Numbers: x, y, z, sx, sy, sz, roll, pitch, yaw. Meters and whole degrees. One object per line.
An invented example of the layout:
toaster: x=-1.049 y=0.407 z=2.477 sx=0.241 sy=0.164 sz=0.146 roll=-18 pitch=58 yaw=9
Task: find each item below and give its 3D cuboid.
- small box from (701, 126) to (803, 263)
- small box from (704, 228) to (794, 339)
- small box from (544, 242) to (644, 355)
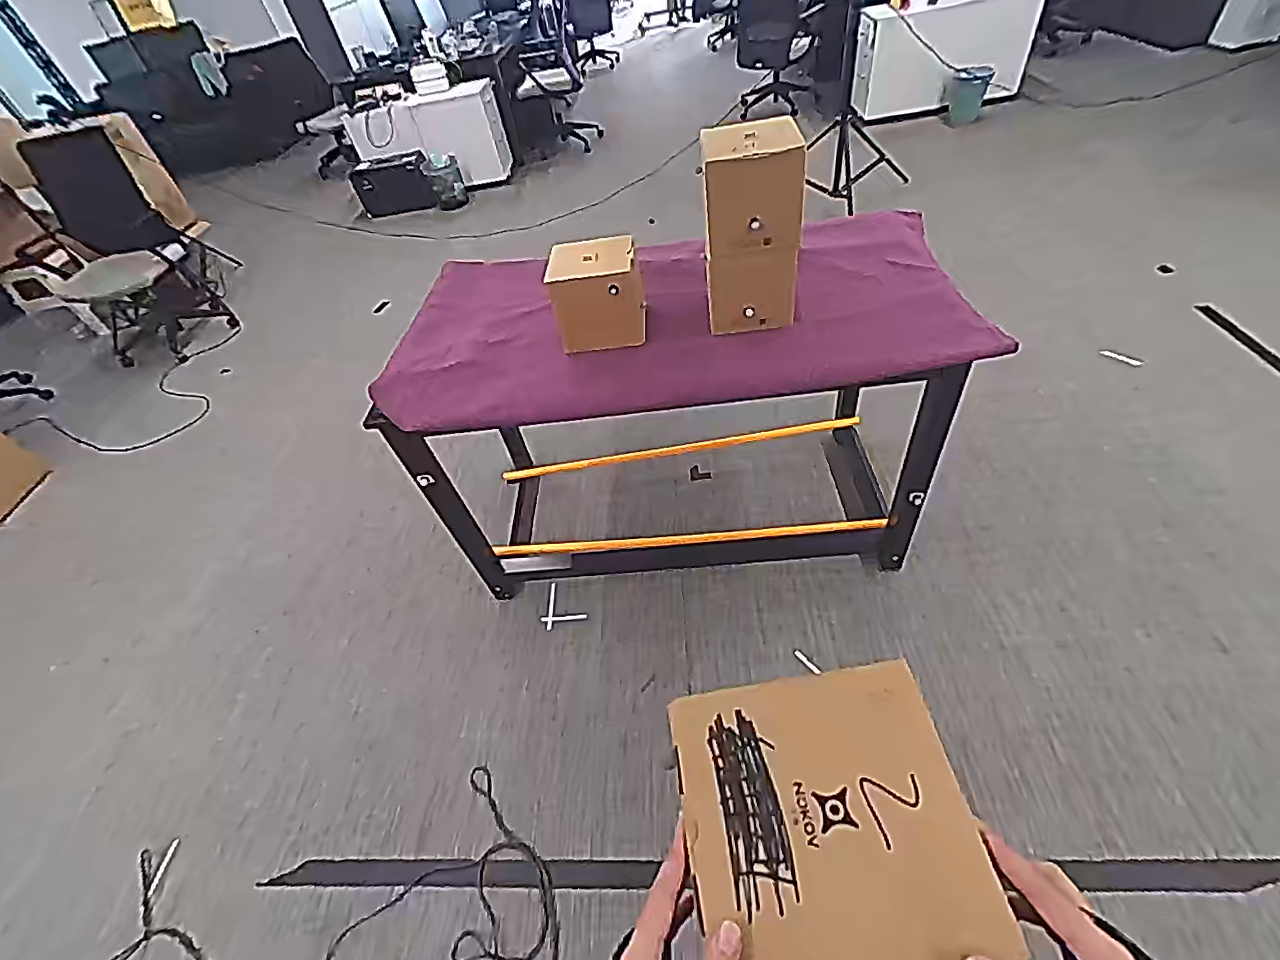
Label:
small box: x=0.201 y=-0.527 z=1.002 sx=0.168 sy=0.176 sz=0.179 roll=-5 pitch=47 yaw=8
small box: x=0.220 y=-0.415 z=1.123 sx=0.168 sy=0.176 sz=0.179 roll=-4 pitch=47 yaw=8
small box: x=-0.090 y=-0.383 z=1.157 sx=0.179 sy=0.176 sz=0.168 roll=-5 pitch=47 yaw=6
